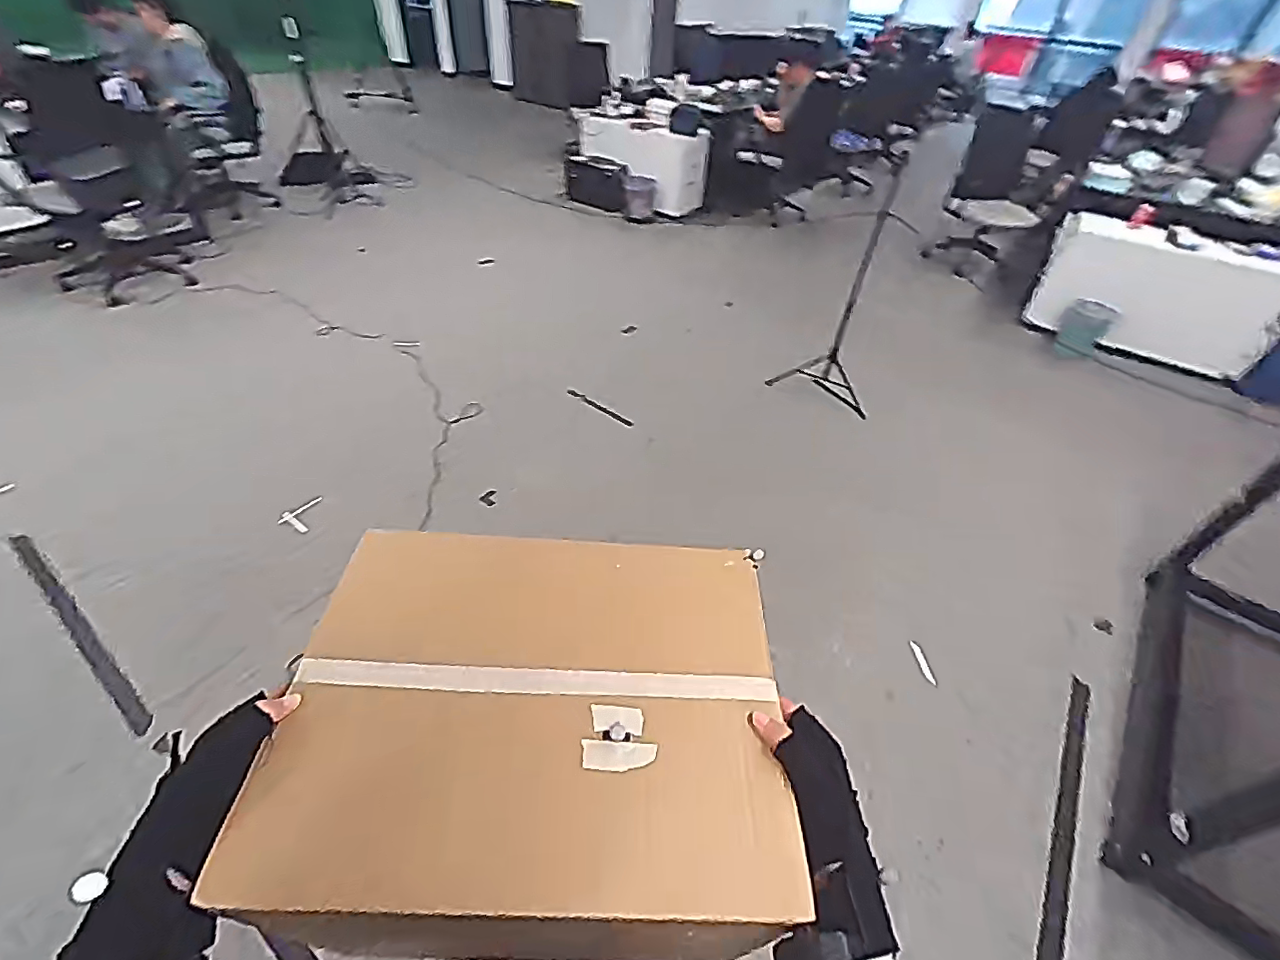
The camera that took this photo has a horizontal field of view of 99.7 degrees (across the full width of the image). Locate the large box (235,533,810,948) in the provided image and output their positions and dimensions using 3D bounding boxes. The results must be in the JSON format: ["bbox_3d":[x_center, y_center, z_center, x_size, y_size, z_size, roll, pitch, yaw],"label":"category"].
[{"bbox_3d":[-0.088,0.282,0.579,0.408,0.320,0.320,5,45,-3],"label":"large box"}]
